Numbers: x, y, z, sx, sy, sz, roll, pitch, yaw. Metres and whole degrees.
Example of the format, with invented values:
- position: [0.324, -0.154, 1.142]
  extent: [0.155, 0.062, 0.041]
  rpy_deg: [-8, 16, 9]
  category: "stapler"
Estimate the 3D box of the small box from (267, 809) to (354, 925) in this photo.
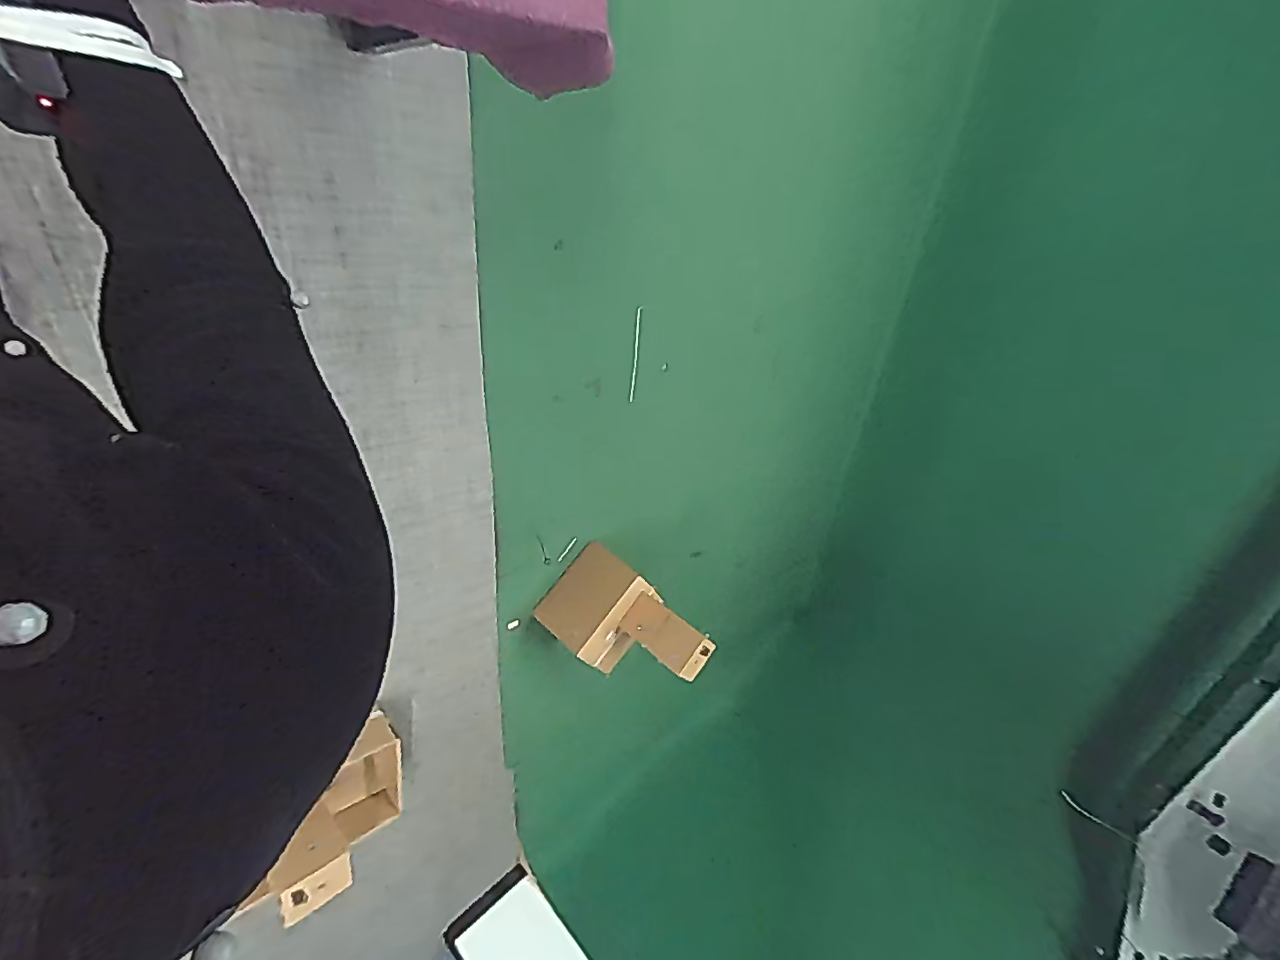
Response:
- position: [-0.956, 1.110, 1.564]
  extent: [0.179, 0.176, 0.168]
  rpy_deg: [-16, 125, -45]
  category: "small box"

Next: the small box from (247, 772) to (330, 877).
- position: [-1.073, 1.047, 1.661]
  extent: [0.179, 0.176, 0.168]
  rpy_deg: [-16, 124, -44]
  category: "small box"
